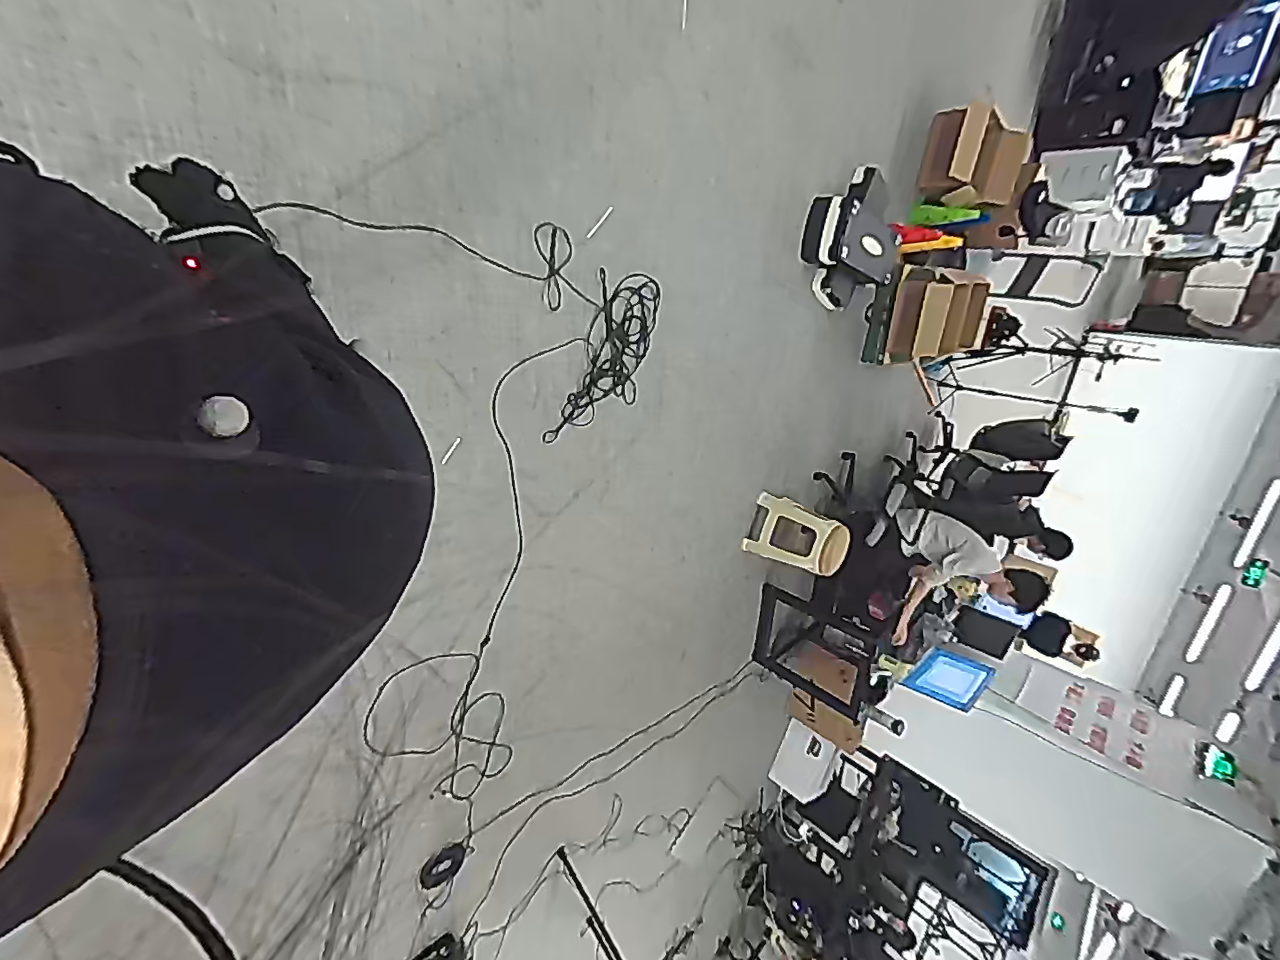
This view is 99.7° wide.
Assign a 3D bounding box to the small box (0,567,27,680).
[{"bbox_3d":[-1.228,0.263,0.953,0.168,0.176,0.179,-15,118,-42],"label":"small box"}]
